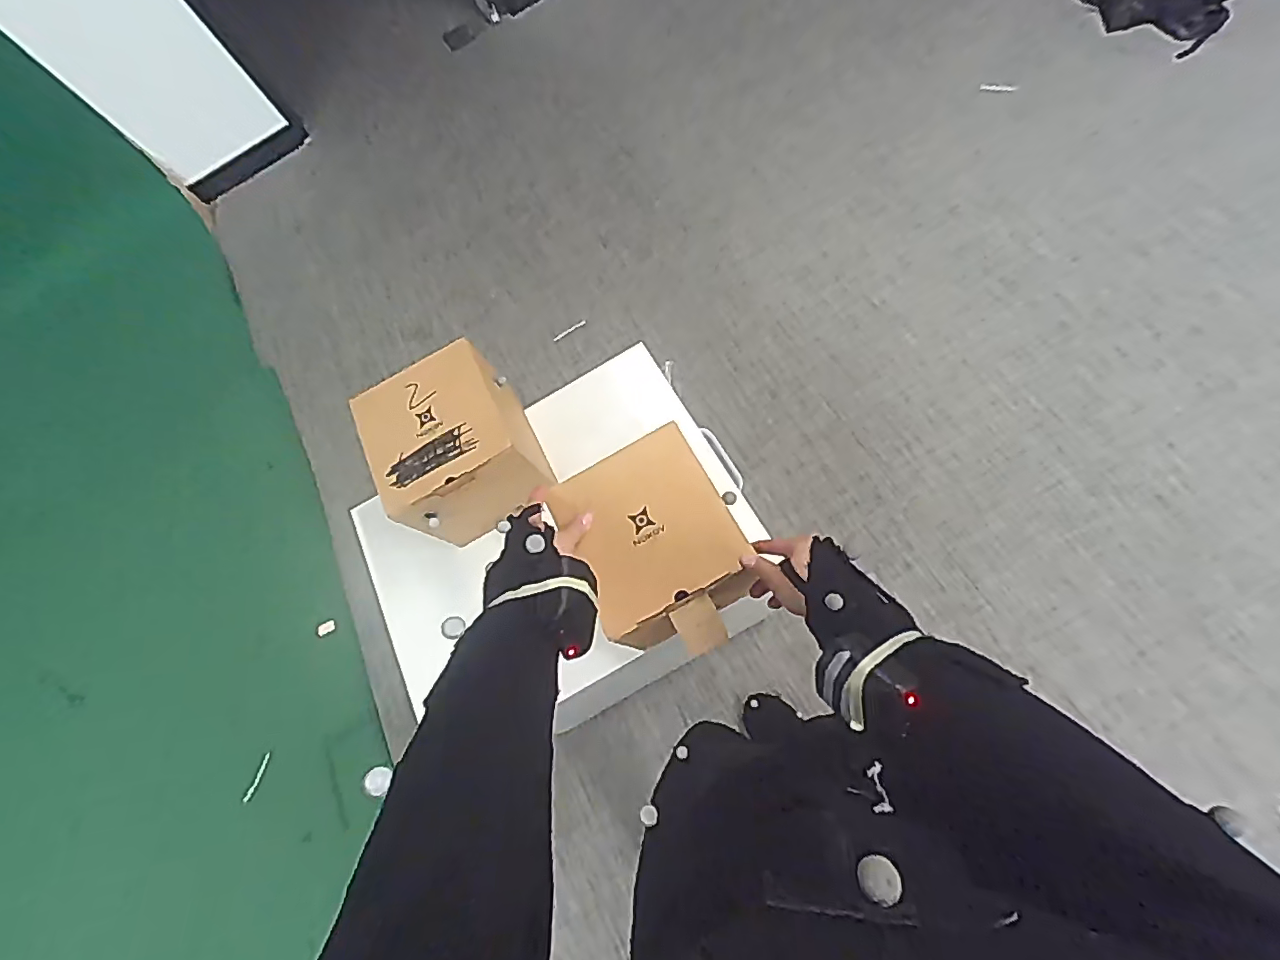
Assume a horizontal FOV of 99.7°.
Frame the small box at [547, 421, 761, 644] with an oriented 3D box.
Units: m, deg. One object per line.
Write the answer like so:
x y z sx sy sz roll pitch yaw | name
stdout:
0.022 0.070 0.618 0.168 0.176 0.179 -29 67 1 | small box
